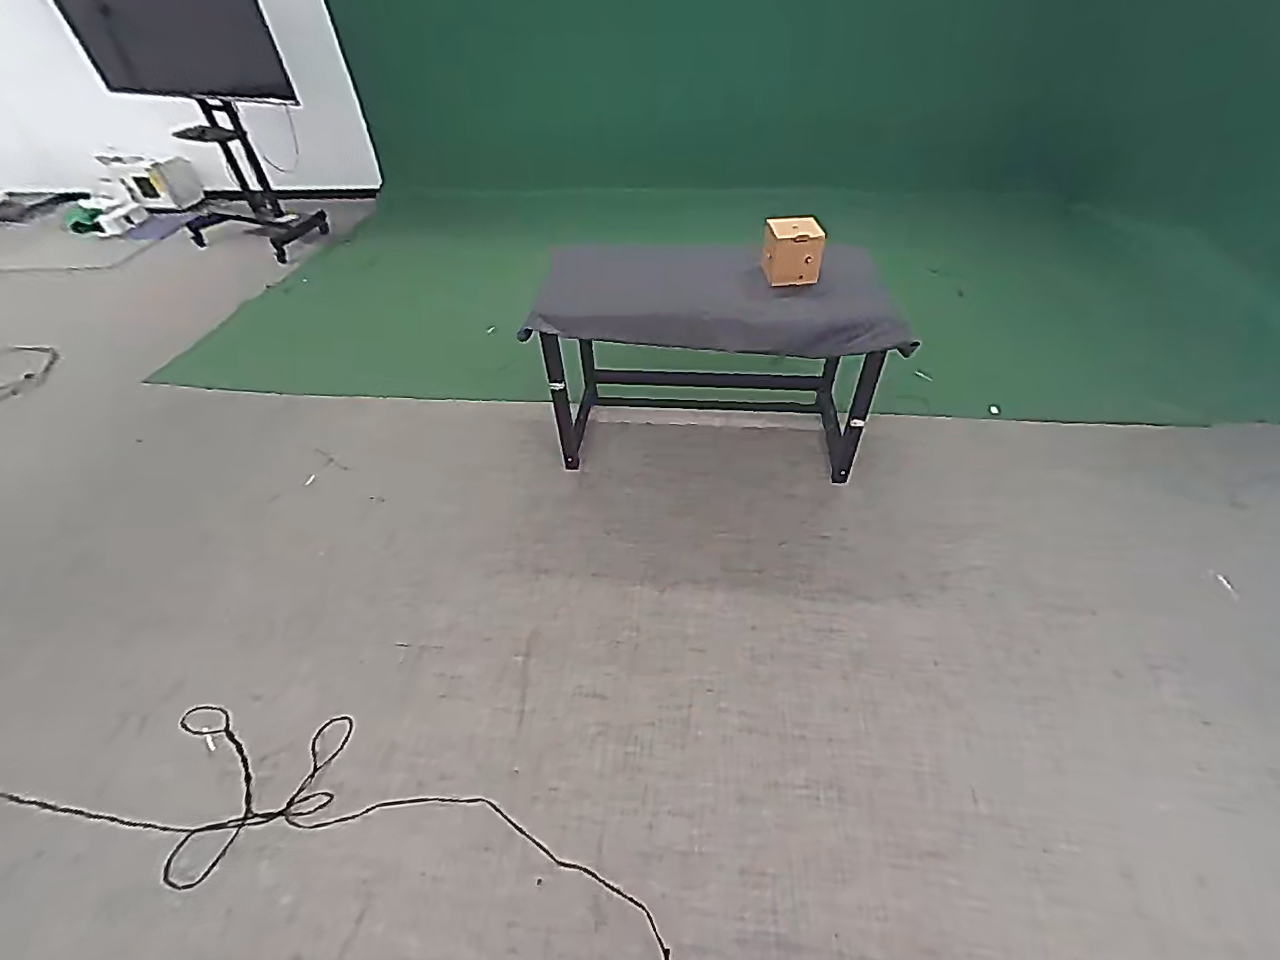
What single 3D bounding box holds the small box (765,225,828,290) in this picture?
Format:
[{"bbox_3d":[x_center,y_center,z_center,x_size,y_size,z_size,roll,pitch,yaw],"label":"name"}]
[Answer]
[{"bbox_3d":[0.548,-0.784,1.914,0.168,0.176,0.179,-2,43,-1],"label":"small box"}]
